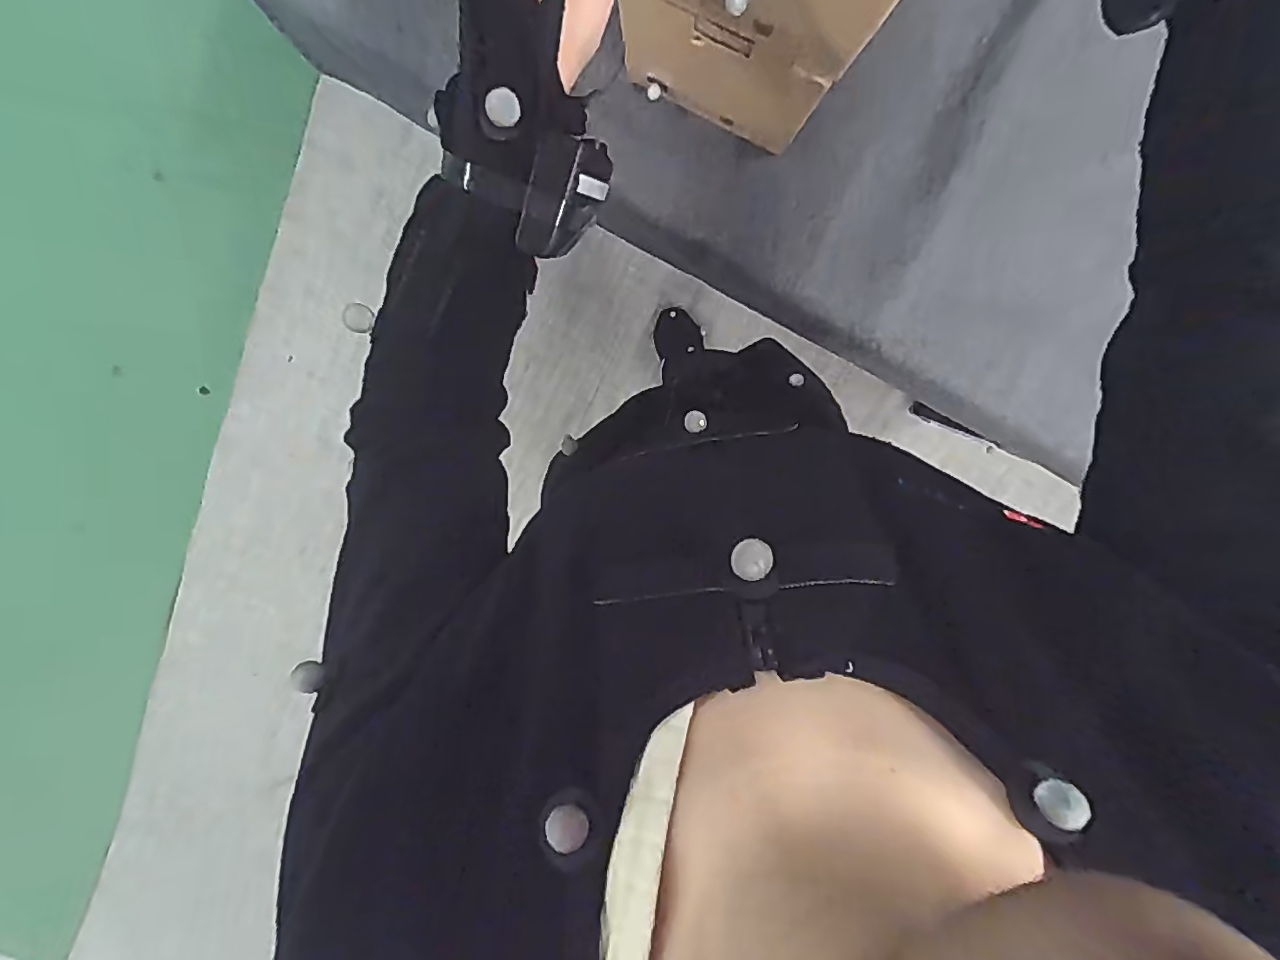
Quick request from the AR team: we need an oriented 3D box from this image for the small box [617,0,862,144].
[{"bbox_3d":[0.092,-0.402,0.419,0.168,0.176,0.179,24,105,-5],"label":"small box"}]
